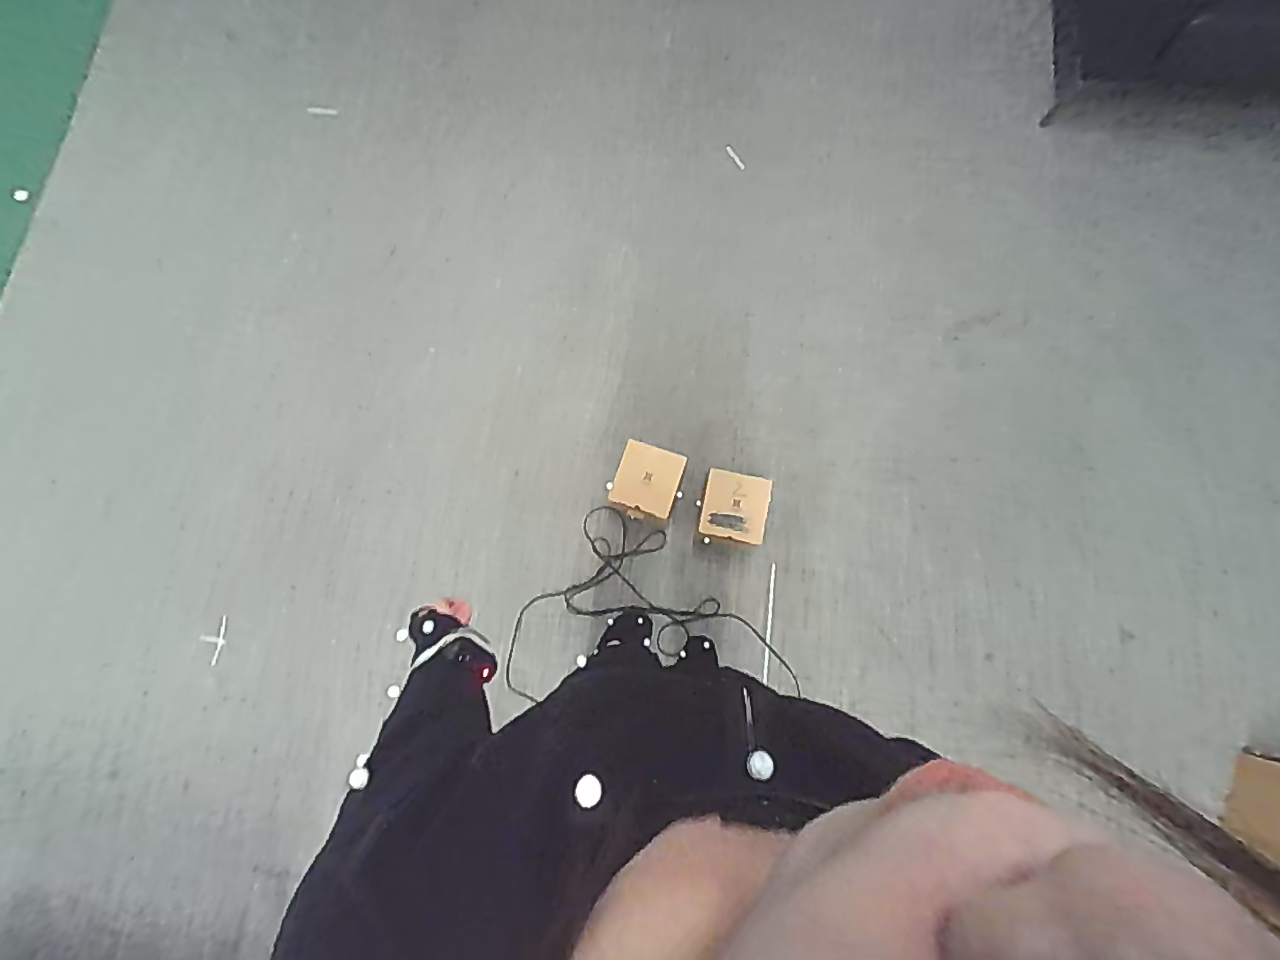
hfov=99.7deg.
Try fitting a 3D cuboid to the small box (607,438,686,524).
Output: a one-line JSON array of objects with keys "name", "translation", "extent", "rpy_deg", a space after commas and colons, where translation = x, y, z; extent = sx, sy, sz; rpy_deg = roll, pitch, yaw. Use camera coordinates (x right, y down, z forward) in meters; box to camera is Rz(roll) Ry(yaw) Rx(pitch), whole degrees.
[{"name": "small box", "translation": [0.019, 0.009, 1.489], "extent": [0.168, 0.176, 0.179], "rpy_deg": [19, 81, 5]}]
